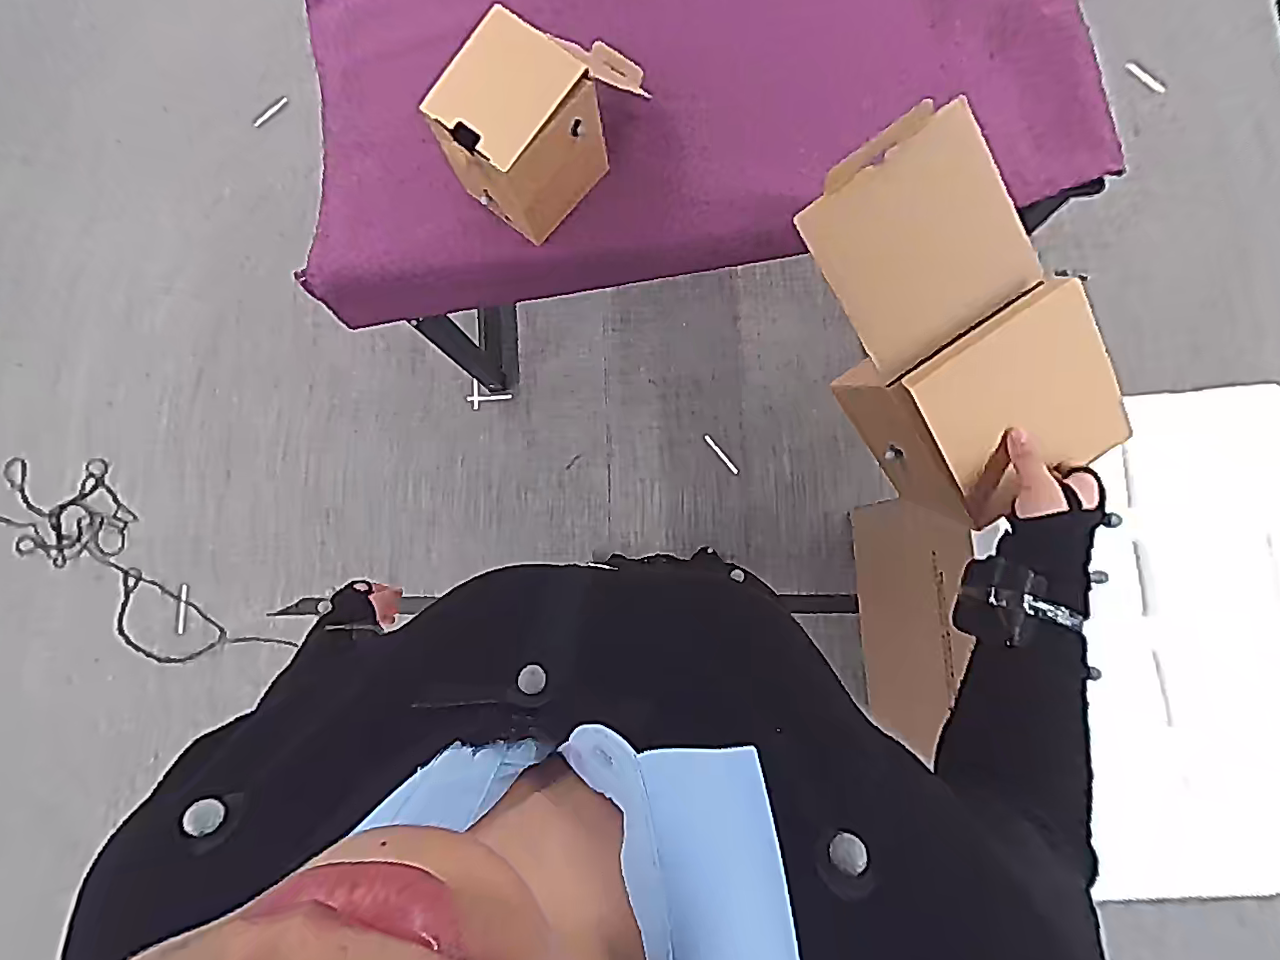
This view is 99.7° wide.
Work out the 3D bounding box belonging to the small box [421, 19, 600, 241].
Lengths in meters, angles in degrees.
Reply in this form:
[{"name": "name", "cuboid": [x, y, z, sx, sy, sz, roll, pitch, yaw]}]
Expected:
[{"name": "small box", "cuboid": [-0.174, -0.500, 0.795, 0.168, 0.176, 0.179, 40, 86, 10]}]
